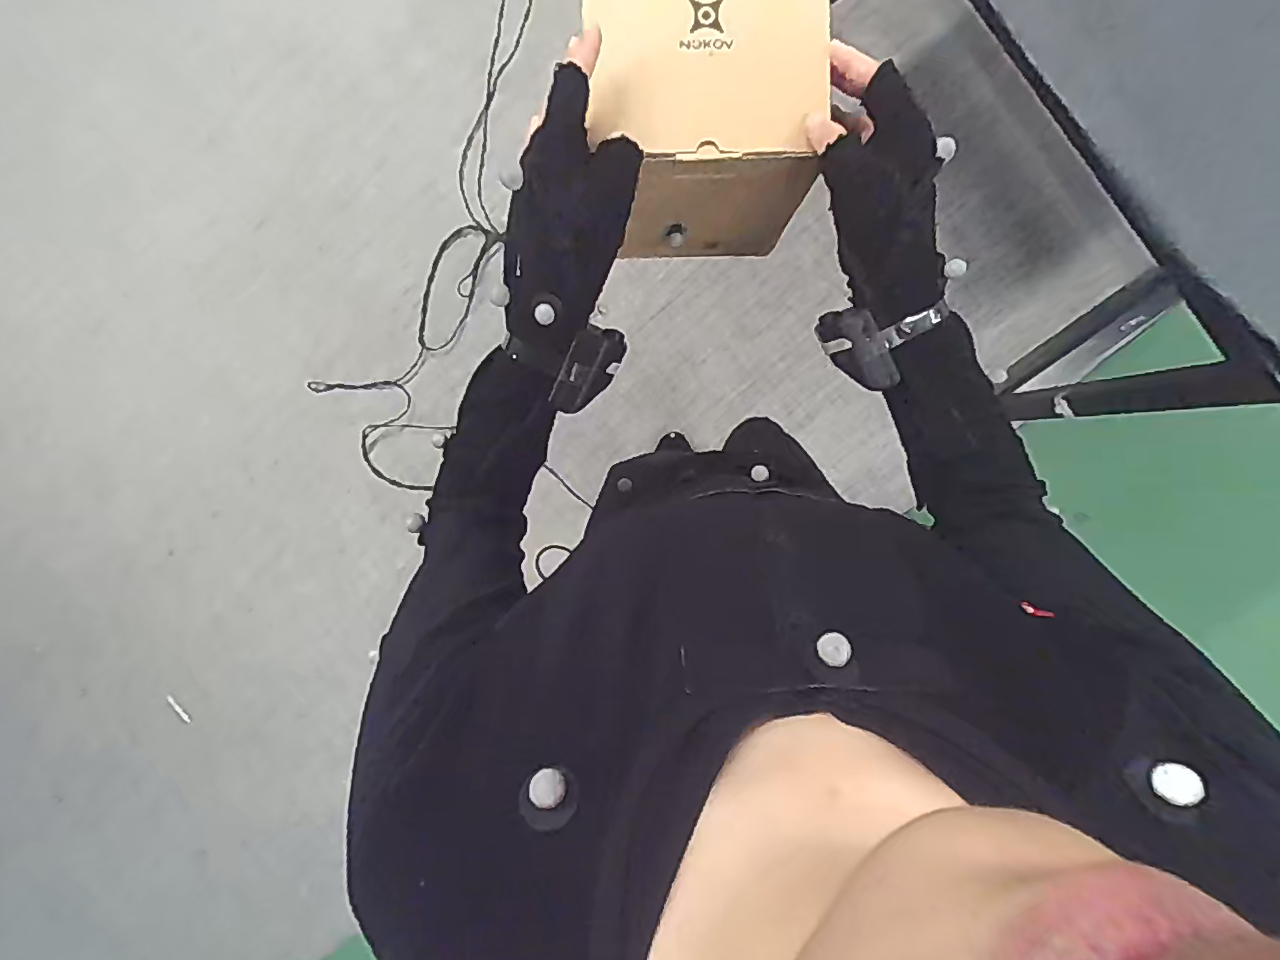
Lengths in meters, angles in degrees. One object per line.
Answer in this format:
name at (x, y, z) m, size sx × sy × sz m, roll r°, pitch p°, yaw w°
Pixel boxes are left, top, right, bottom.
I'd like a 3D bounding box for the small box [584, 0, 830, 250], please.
small box at (0.042, -0.306, 0.437) m, size 0.168 × 0.176 × 0.179 m, roll -1°, pitch 93°, yaw 0°
